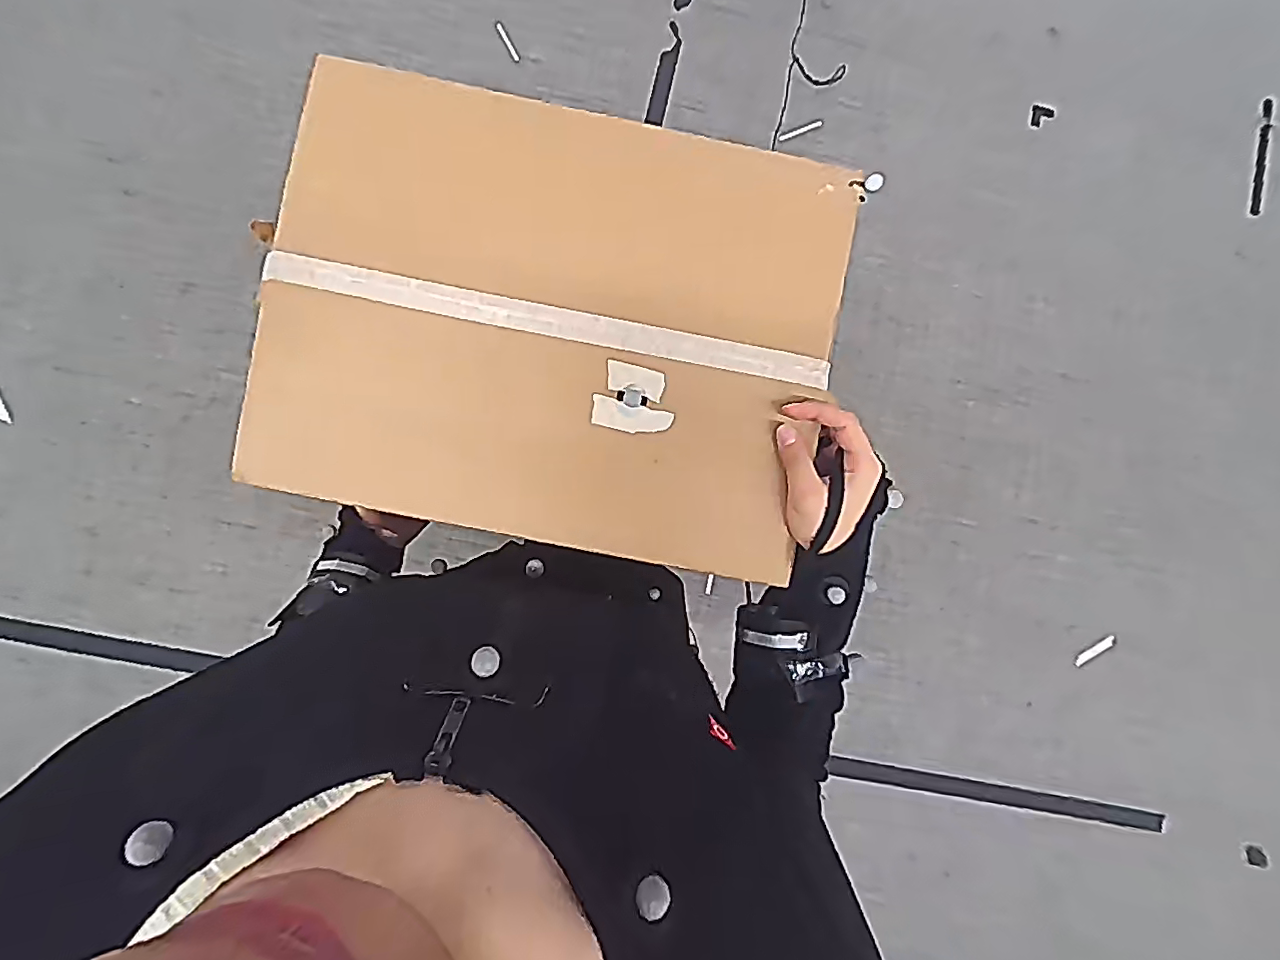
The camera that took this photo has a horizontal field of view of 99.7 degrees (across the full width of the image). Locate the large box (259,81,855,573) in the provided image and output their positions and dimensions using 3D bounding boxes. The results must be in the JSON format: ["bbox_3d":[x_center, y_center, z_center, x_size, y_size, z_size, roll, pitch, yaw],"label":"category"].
[{"bbox_3d":[-0.064,-0.109,0.548,0.408,0.320,0.320,11,90,-3],"label":"large box"}]
